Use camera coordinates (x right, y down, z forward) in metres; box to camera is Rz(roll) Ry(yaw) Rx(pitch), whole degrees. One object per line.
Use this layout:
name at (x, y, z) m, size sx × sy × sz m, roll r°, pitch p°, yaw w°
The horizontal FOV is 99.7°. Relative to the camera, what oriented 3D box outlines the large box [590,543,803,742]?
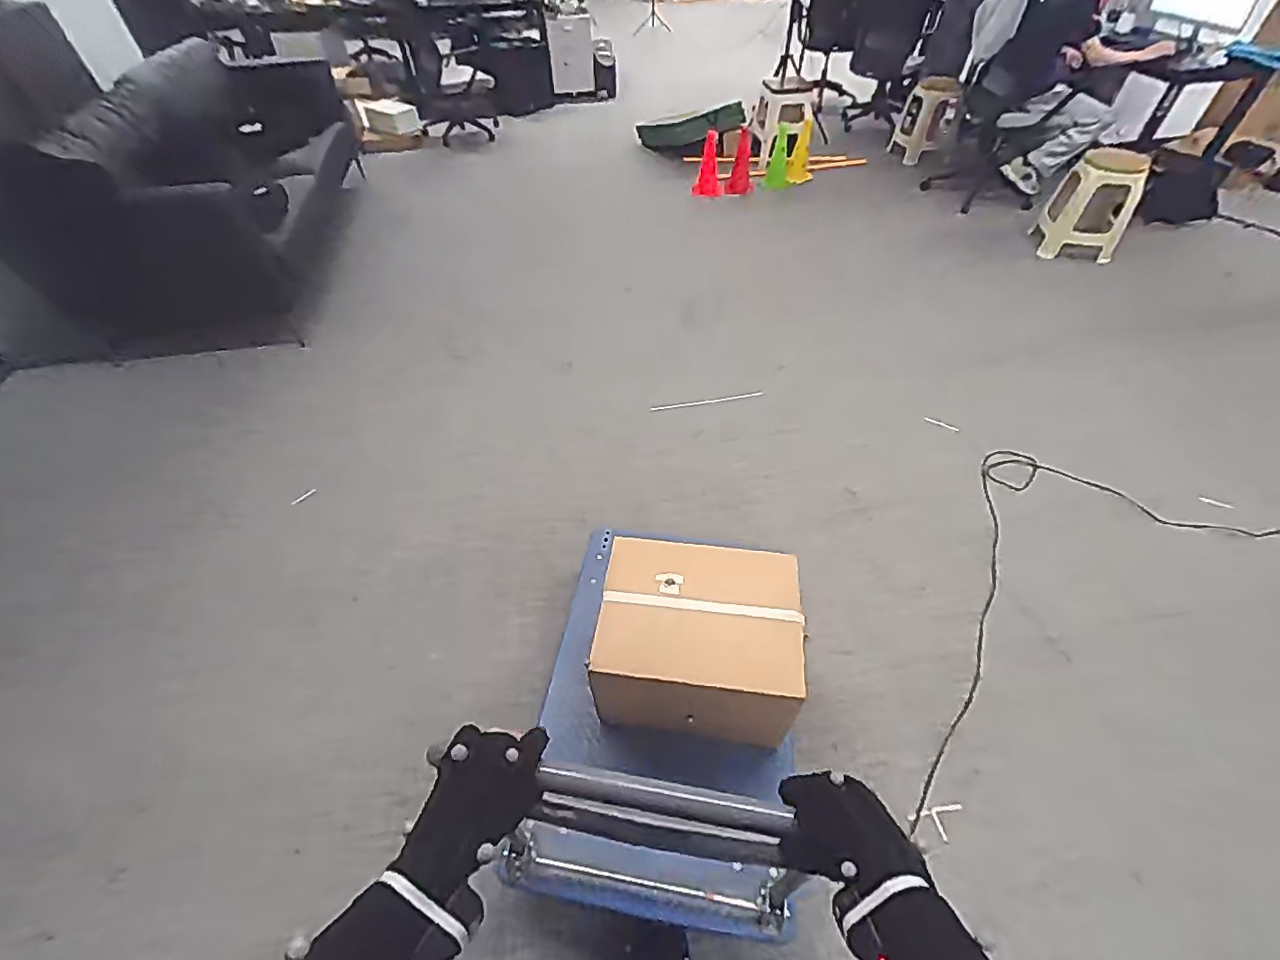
large box at (0.128, 0.366, 1.214) m, size 0.408 × 0.320 × 0.320 m, roll 4°, pitch 48°, yaw 7°
